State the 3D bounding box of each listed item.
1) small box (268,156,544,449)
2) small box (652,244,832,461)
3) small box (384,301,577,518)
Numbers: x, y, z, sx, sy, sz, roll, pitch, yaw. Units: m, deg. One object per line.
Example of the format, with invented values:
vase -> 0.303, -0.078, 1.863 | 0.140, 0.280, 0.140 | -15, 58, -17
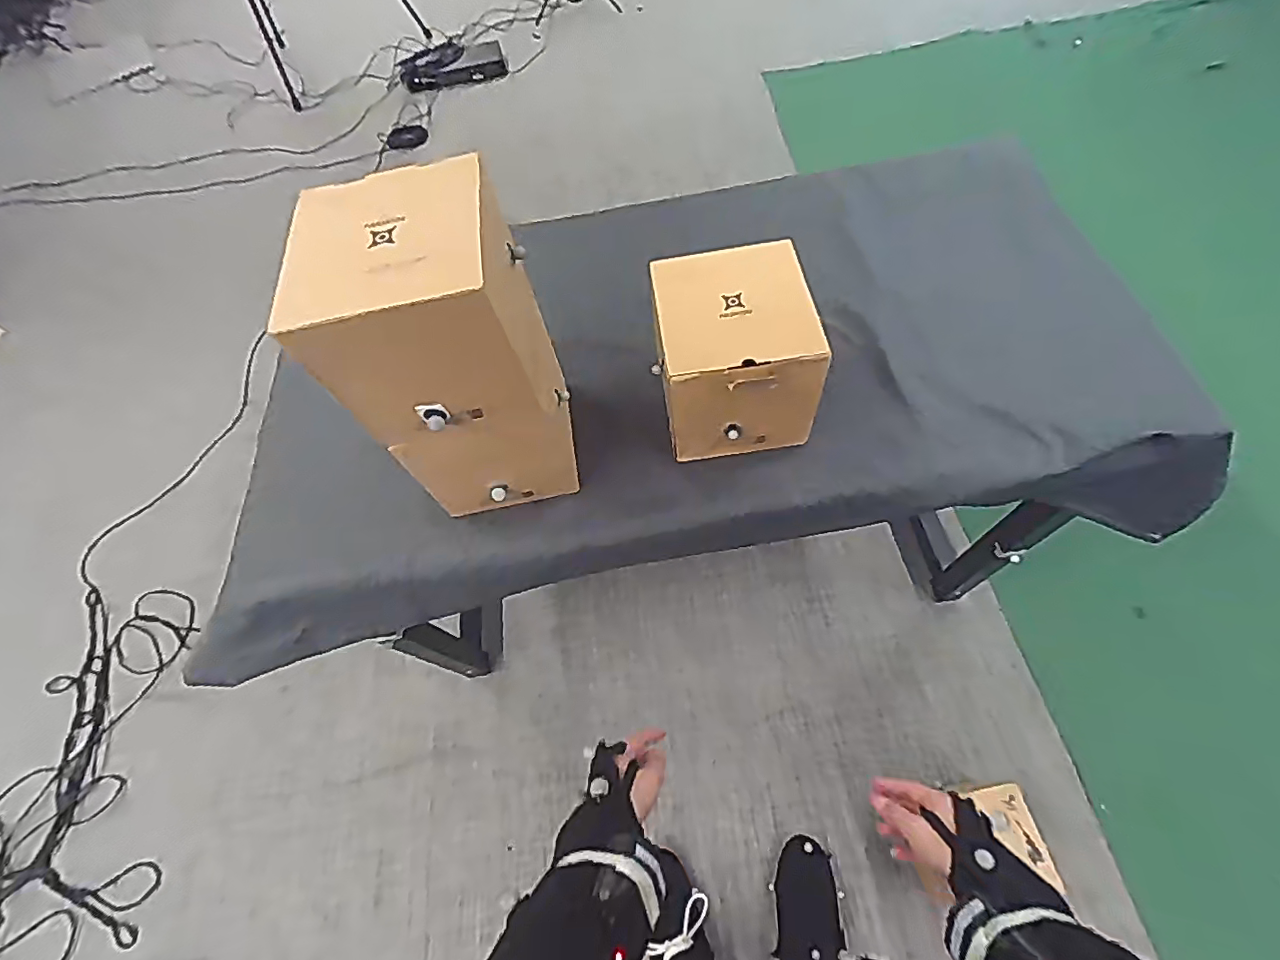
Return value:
small box -> -0.195, -0.155, 0.500 | 0.168, 0.176, 0.179 | -13, 62, 1
small box -> 0.108, -0.146, 0.646 | 0.168, 0.176, 0.179 | -9, 61, 2
small box -> -0.177, -0.078, 0.642 | 0.168, 0.176, 0.179 | -12, 61, 1
